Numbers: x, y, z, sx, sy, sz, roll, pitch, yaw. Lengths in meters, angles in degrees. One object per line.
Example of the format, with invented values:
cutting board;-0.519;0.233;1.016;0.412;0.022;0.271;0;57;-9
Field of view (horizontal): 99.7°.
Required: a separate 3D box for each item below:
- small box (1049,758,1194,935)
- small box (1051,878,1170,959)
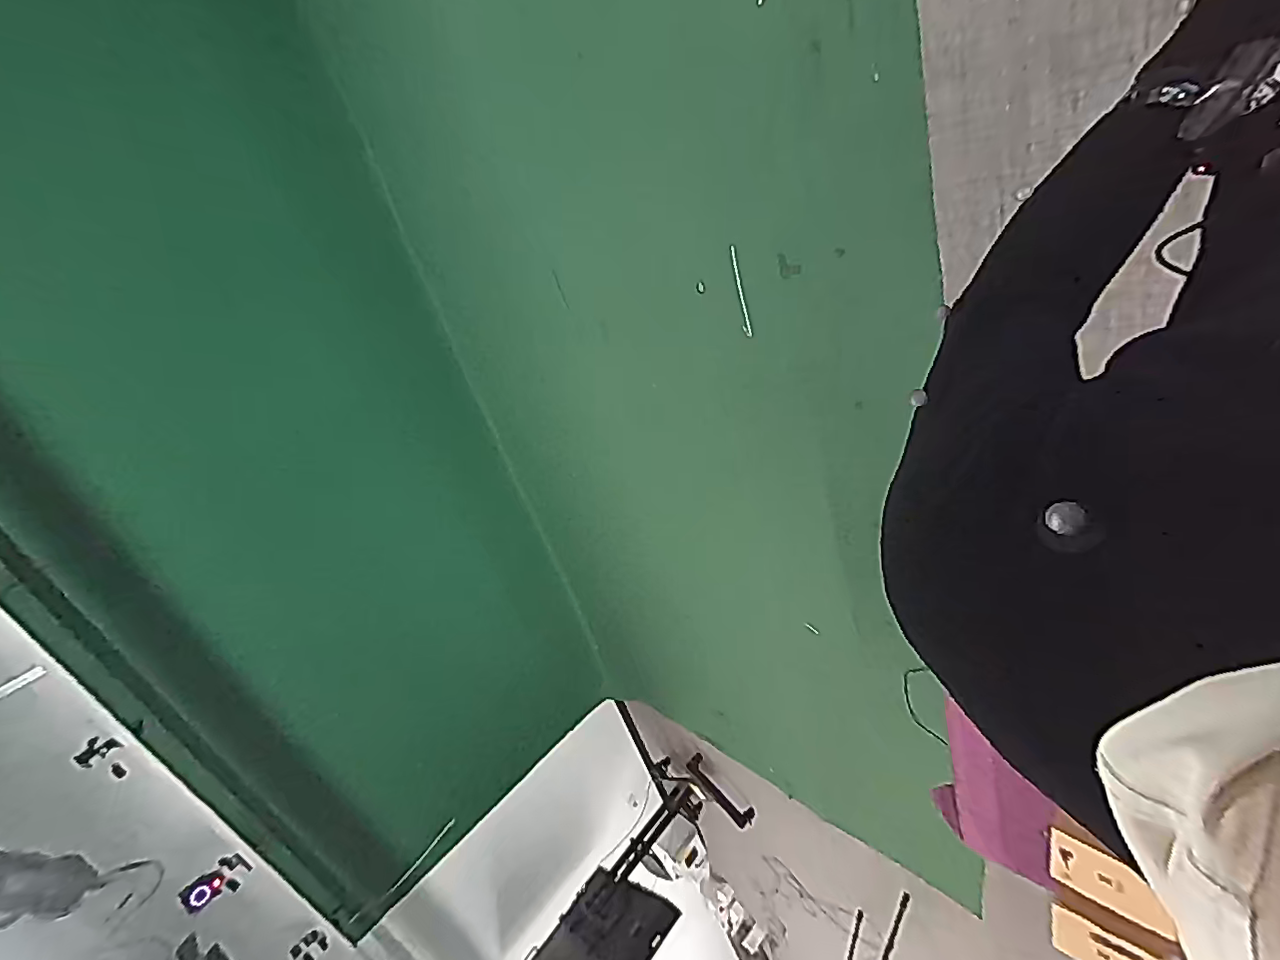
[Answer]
small box;0.870;0.650;0.981;0.179;0.176;0.168;10;129;46
small box;0.949;0.865;1.085;0.168;0.176;0.179;9;128;48
